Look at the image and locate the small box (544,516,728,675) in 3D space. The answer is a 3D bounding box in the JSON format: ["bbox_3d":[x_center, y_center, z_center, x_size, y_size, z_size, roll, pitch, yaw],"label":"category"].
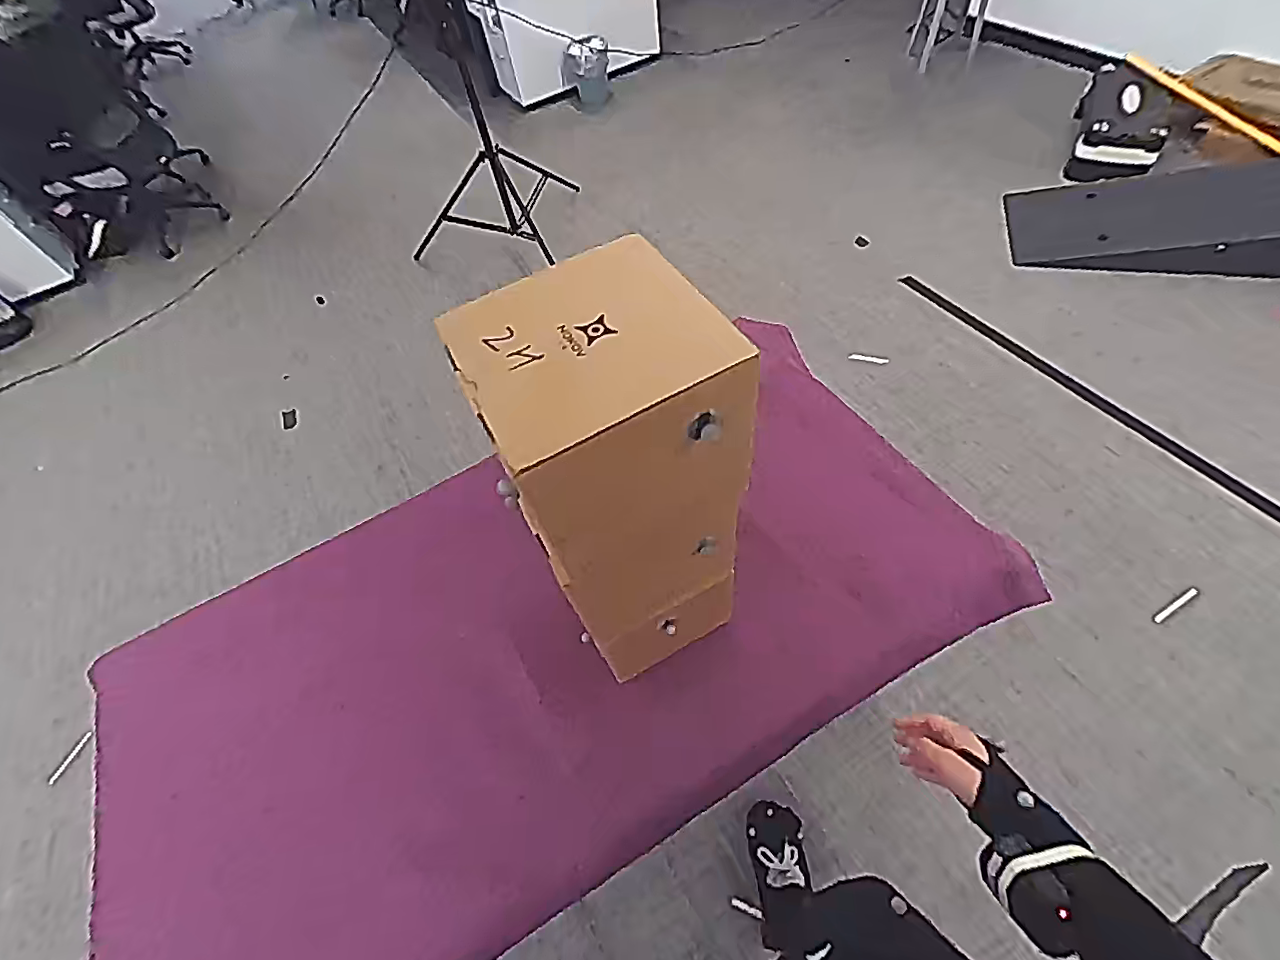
[{"bbox_3d":[0.000,0.128,0.707,0.179,0.176,0.168,-27,58,-11],"label":"small box"}]

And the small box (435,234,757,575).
[{"bbox_3d":[-0.029,-0.055,0.434,0.179,0.176,0.168,-28,57,-10],"label":"small box"}]
